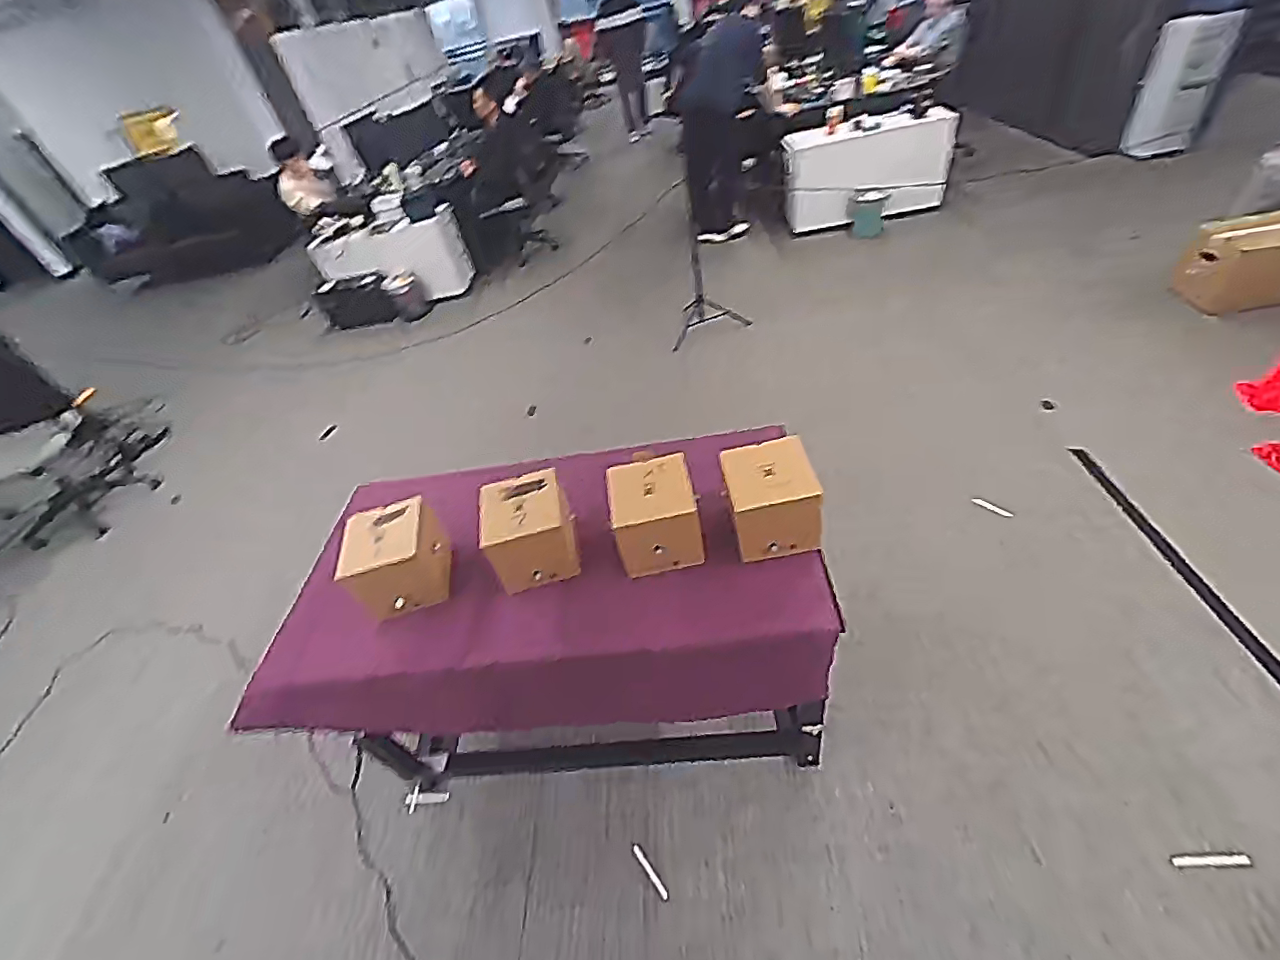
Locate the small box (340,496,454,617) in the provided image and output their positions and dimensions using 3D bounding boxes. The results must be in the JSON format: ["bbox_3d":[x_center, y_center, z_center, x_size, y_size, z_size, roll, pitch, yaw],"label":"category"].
[{"bbox_3d":[-0.524,0.170,1.196,0.168,0.176,0.179,-17,44,-2],"label":"small box"}]

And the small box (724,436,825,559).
[{"bbox_3d":[0.274,0.037,1.119,0.168,0.176,0.179,-12,42,6],"label":"small box"}]

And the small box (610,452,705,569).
[{"bbox_3d":[0.038,0.072,1.147,0.168,0.176,0.179,-11,42,3],"label":"small box"}]
